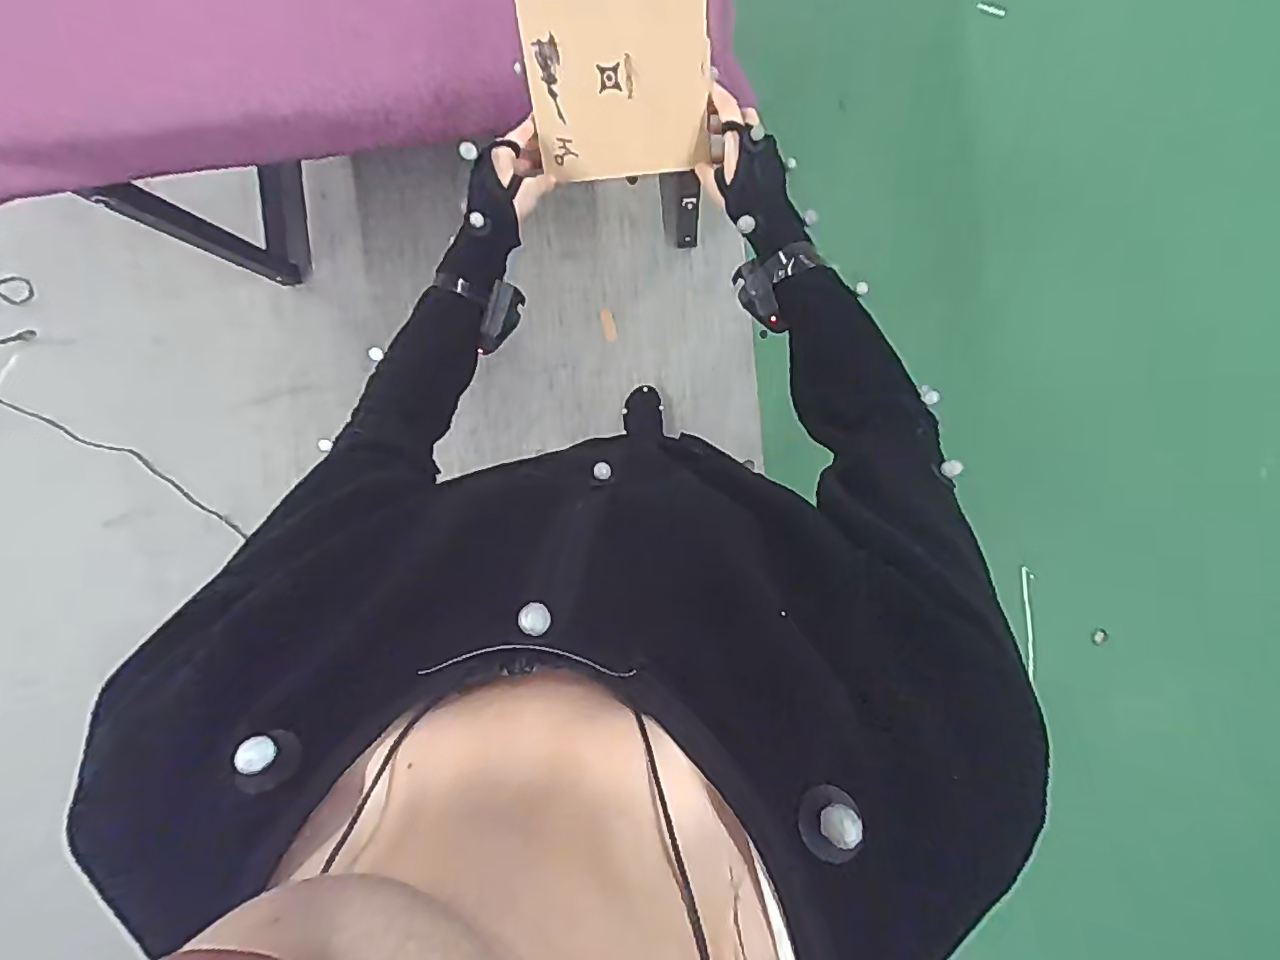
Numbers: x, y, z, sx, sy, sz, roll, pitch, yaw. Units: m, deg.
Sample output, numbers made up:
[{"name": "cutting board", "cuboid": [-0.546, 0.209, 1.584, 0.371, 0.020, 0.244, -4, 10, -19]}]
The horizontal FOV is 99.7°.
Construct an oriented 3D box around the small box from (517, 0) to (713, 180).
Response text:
[{"name": "small box", "cuboid": [-0.019, -0.430, 0.578, 0.179, 0.176, 0.168, -4, 124, 4]}]
